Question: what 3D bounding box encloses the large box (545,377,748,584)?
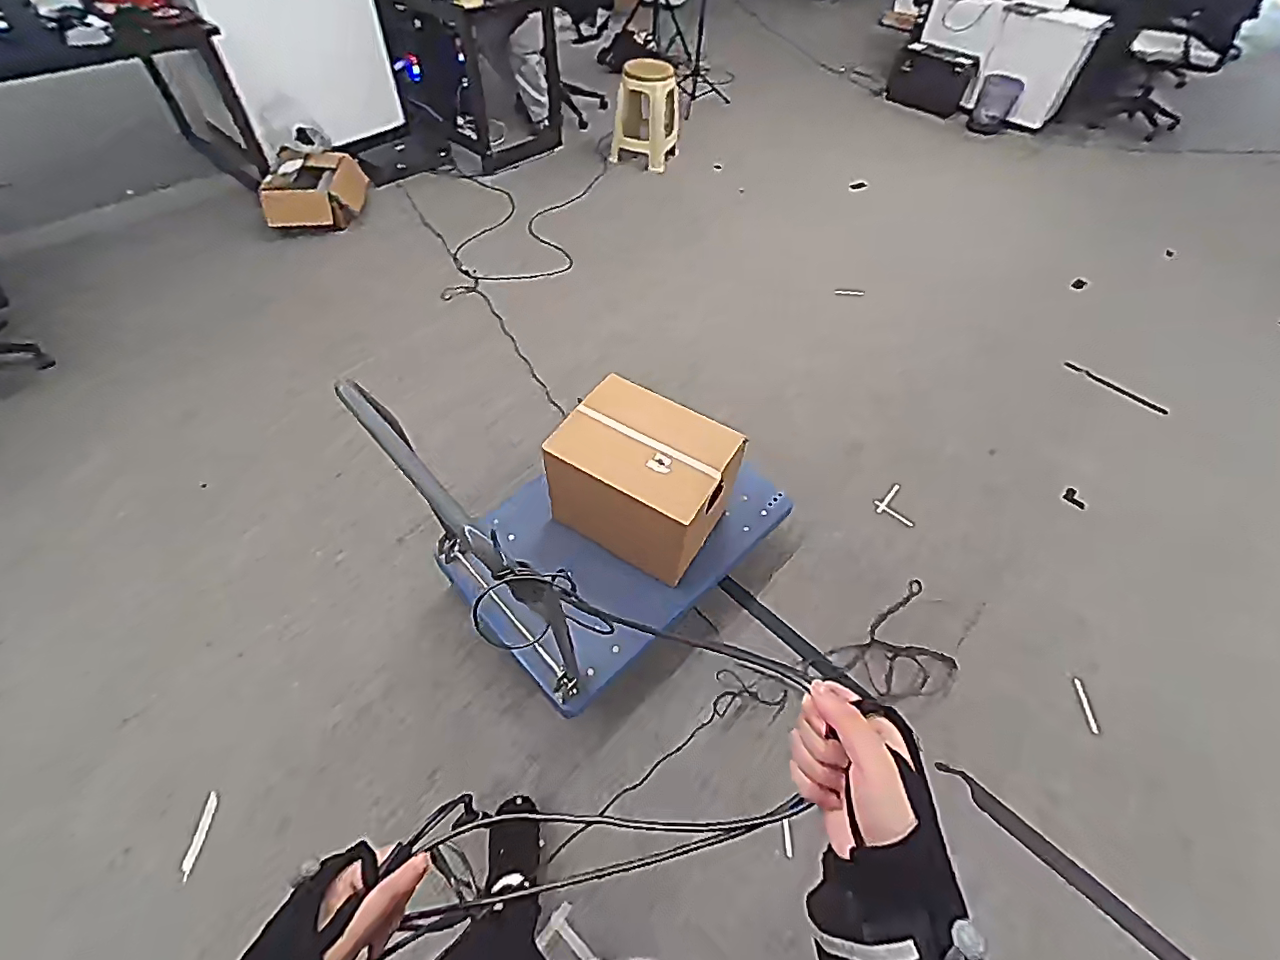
[{"bbox_3d":[0.010,0.001,1.416,0.408,0.320,0.320,28,58,16],"label":"large box"}]
